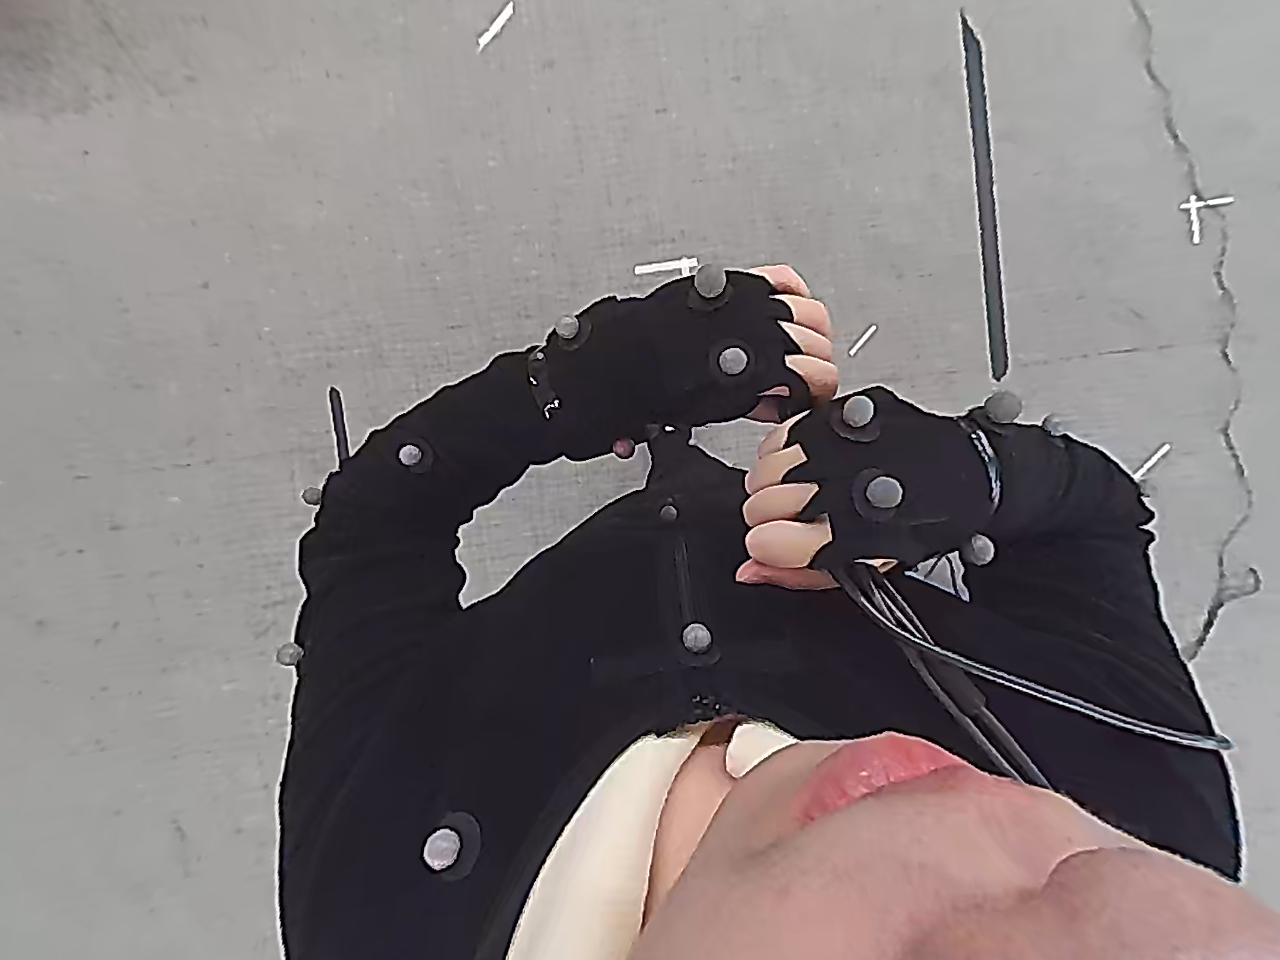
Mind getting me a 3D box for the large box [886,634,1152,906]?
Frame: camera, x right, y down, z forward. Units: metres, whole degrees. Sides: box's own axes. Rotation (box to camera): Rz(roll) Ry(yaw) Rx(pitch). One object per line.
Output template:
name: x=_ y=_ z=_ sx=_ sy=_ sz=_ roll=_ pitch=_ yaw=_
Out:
large box: x=0.804 y=0.606 z=1.199 sx=0.320 sy=0.320 sz=0.408 roll=14 pitch=91 yaw=-1
